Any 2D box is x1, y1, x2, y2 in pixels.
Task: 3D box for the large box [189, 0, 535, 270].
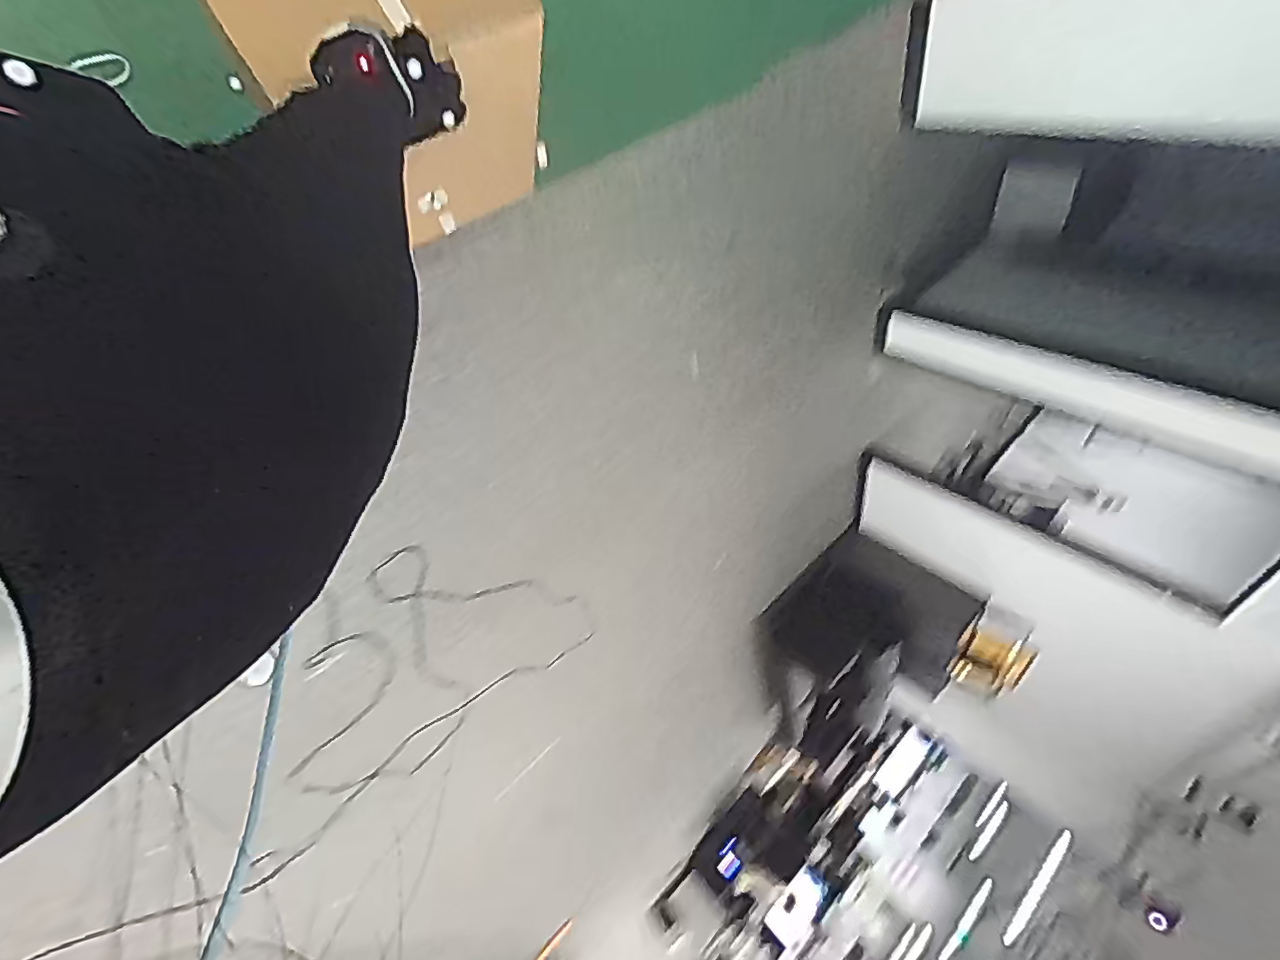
[{"bbox_3d":[-0.382,-0.588,0.743,0.320,0.408,0.320,-33,179,-16],"label":"large box"}]
